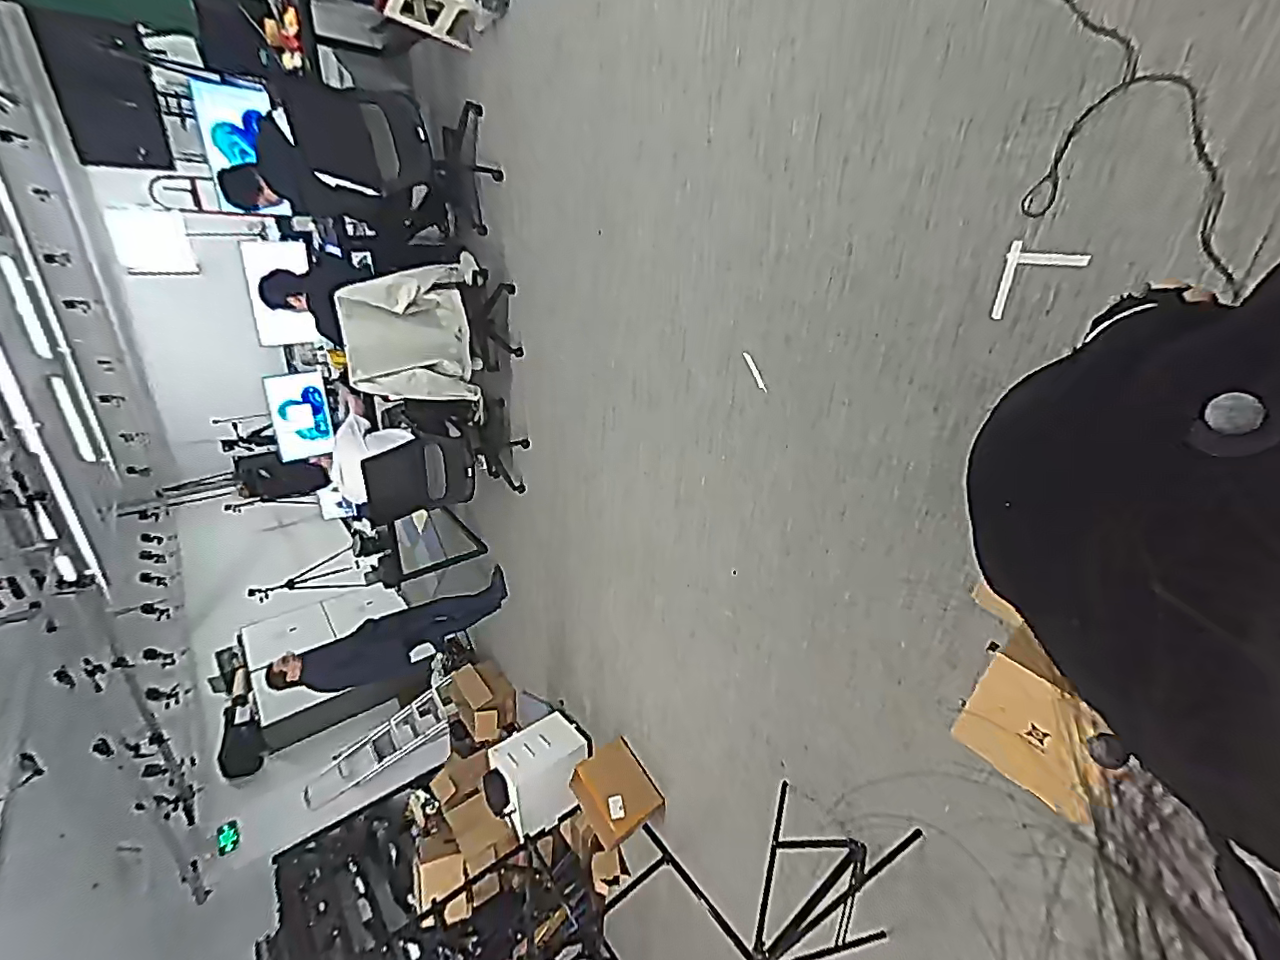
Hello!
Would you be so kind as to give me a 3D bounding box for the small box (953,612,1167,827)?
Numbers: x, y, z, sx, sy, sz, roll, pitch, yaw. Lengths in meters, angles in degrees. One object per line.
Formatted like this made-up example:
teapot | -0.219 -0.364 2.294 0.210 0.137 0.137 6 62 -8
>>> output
small box | 0.577 0.315 0.746 0.168 0.176 0.179 34 130 41
